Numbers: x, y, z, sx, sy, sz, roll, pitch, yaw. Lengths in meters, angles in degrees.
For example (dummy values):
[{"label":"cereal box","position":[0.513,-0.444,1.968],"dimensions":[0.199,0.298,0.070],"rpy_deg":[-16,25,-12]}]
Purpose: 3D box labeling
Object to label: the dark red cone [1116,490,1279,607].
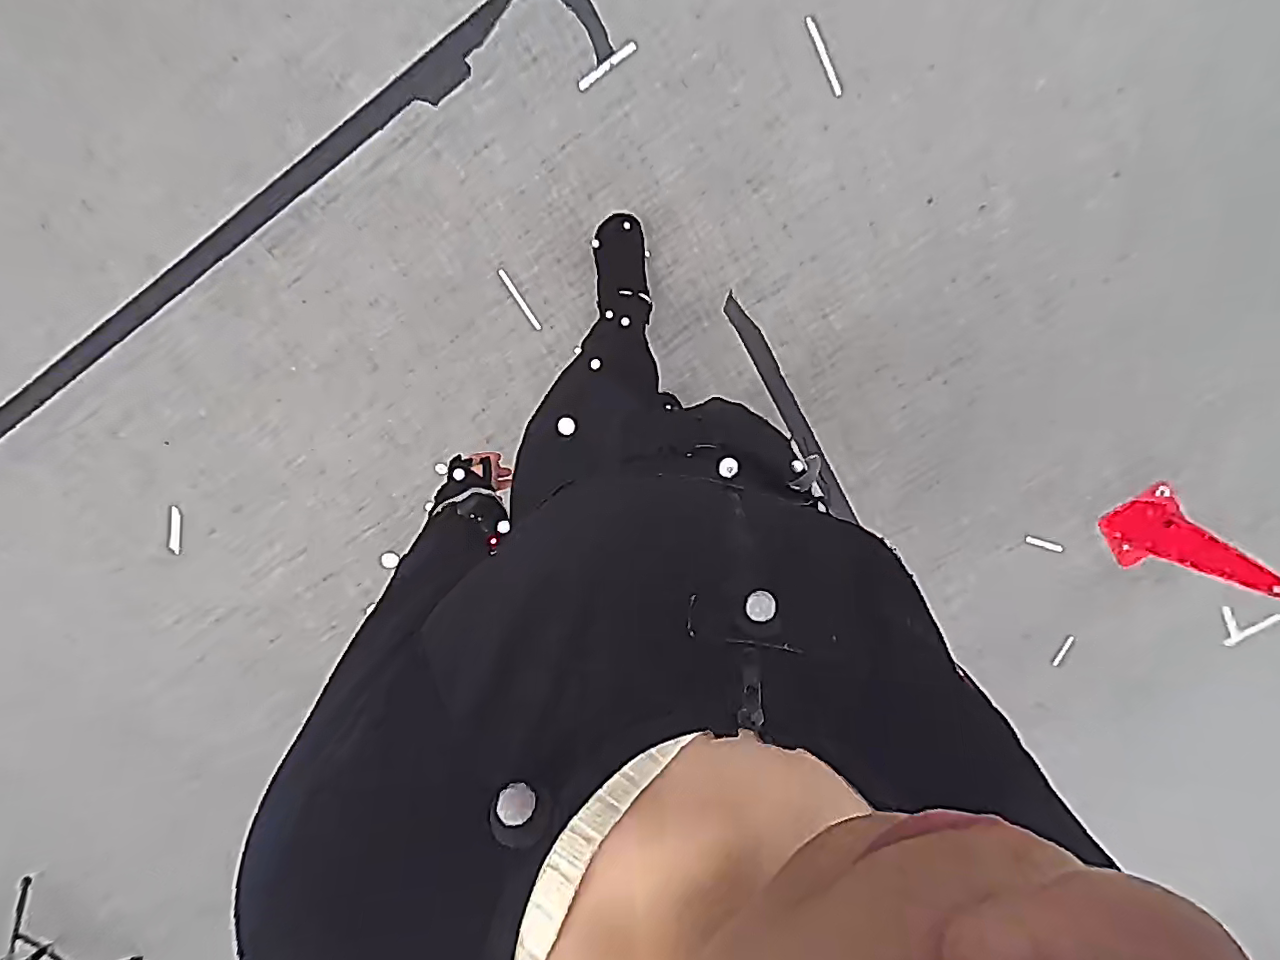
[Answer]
[{"label":"dark red cone","position":[1.407,0.203,1.305],"dimensions":[0.201,0.394,0.202],"rpy_deg":[-38,107,12]}]
